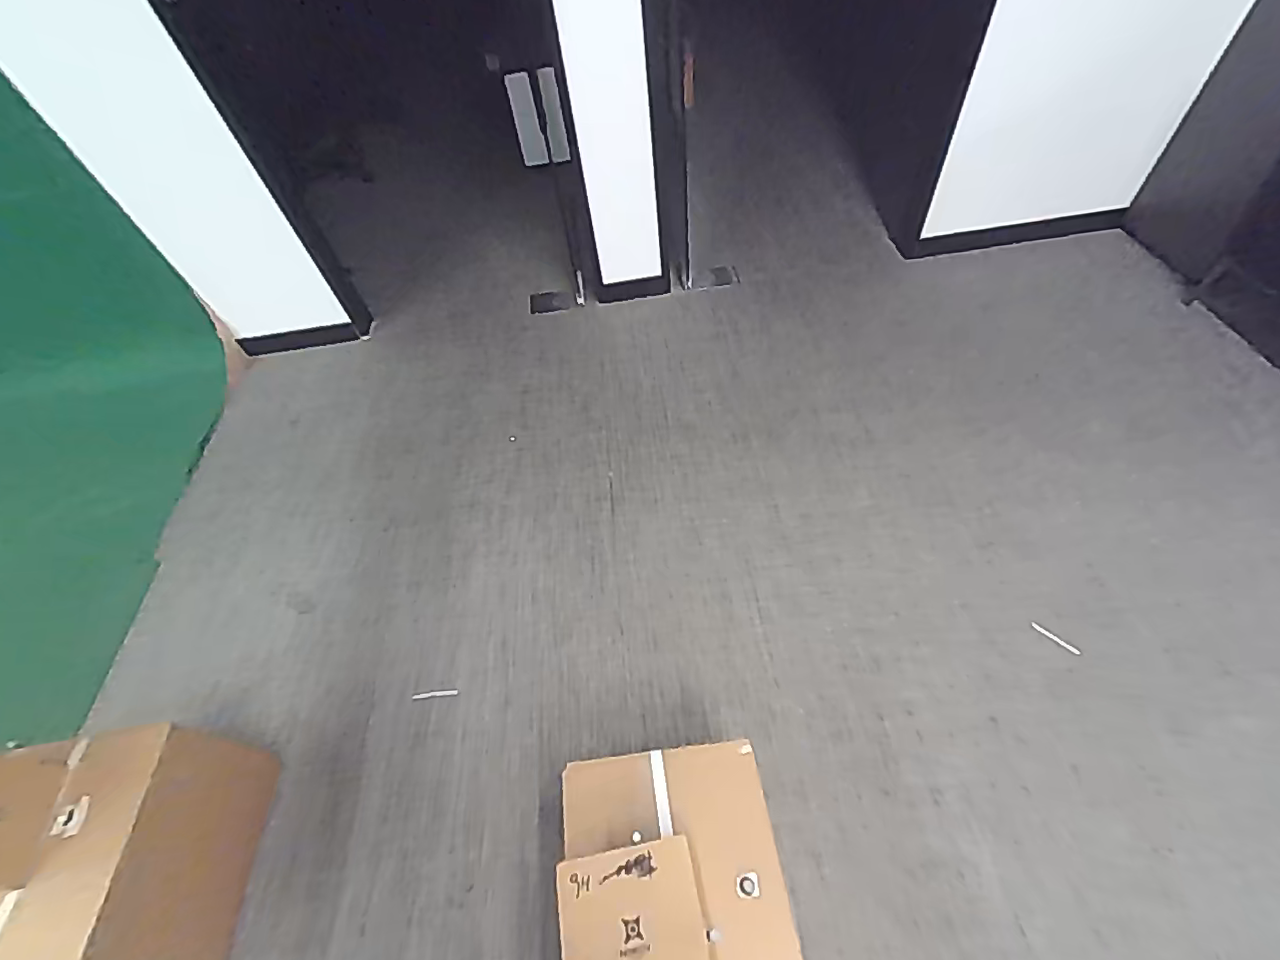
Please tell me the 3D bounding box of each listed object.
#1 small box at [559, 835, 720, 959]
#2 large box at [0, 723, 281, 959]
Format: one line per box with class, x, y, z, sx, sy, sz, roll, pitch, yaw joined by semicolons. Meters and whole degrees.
small box;0.005;0.562;0.673;0.168;0.176;0.179;-13;53;0
large box;-0.951;0.716;0.990;0.320;0.320;0.408;-9;52;1
